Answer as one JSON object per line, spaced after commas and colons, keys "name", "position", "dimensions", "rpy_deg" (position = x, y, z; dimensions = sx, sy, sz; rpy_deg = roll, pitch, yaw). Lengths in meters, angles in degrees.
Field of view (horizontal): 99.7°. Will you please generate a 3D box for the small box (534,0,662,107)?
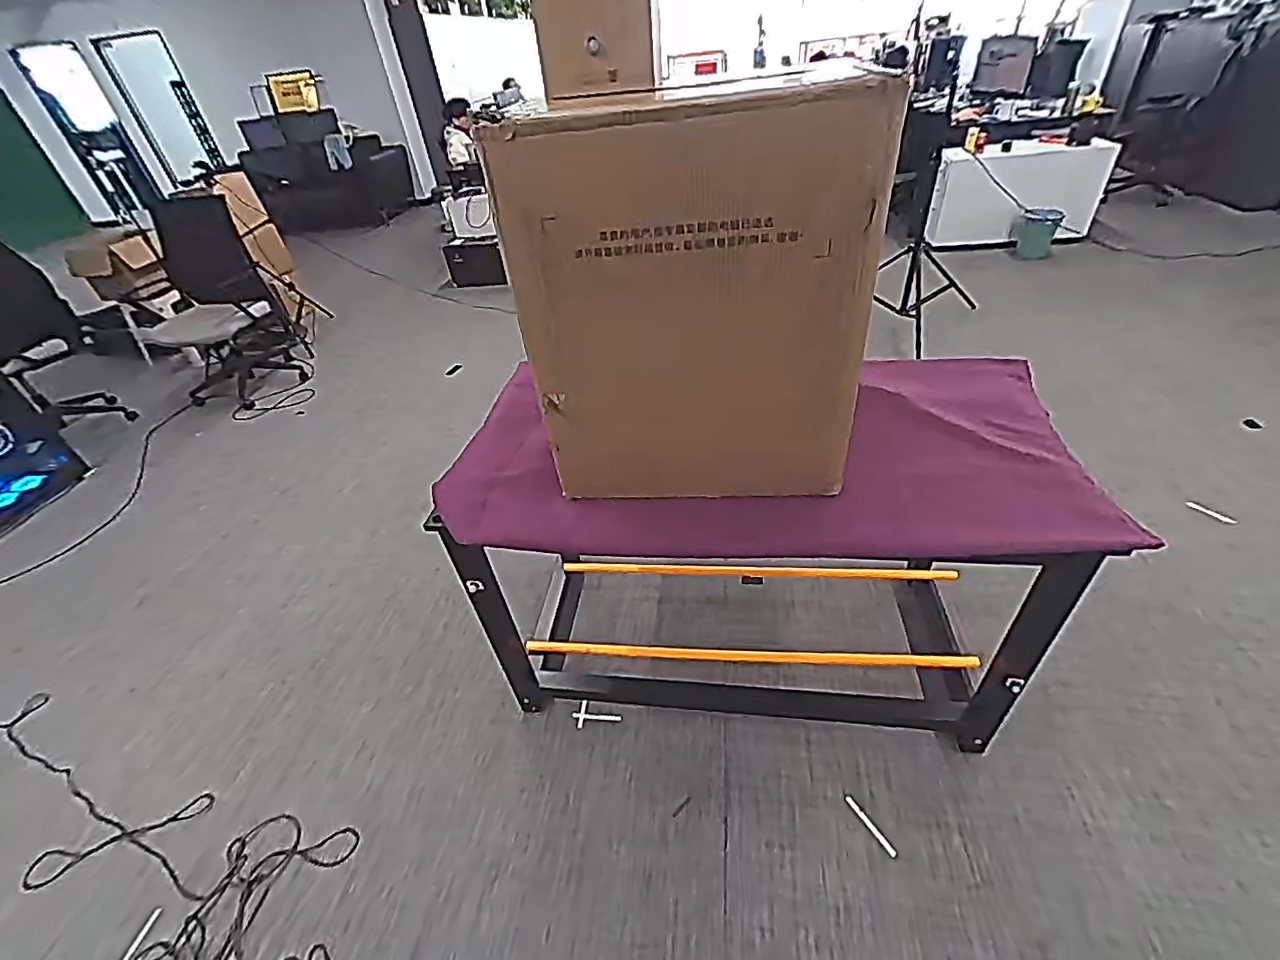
{"name": "small box", "position": [-0.056, -0.675, 0.817], "dimensions": [0.168, 0.176, 0.179], "rpy_deg": [-1, 39, 8]}
